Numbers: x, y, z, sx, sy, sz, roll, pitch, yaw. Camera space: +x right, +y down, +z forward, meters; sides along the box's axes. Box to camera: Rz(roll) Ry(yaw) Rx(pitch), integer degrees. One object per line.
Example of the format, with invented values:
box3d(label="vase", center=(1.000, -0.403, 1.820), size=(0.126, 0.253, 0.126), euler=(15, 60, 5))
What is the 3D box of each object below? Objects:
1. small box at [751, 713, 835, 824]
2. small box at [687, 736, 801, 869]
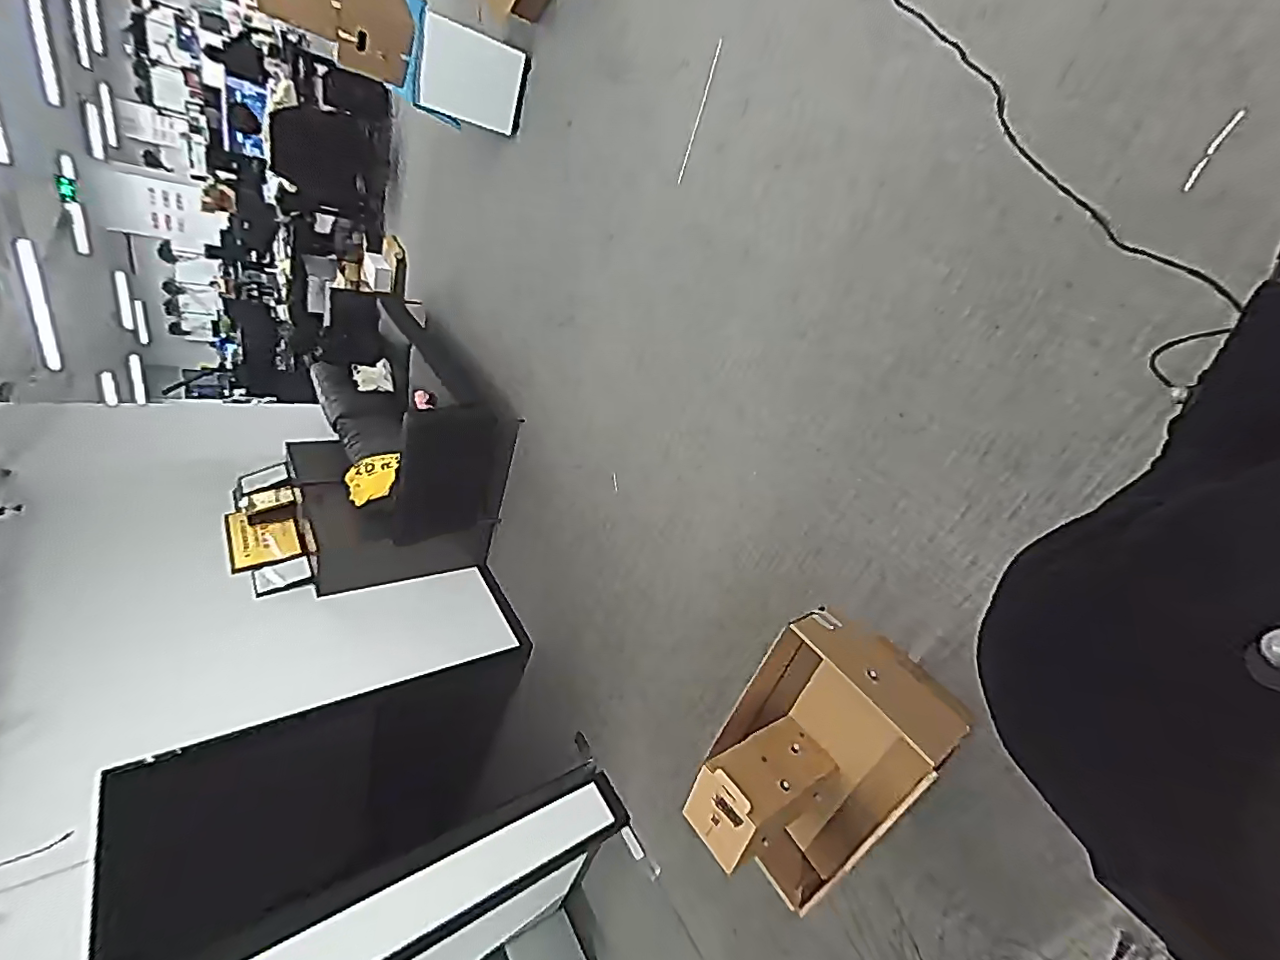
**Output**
box3d(label="small box", center=(0.362, 0.724, 1.361), size=(0.168, 0.176, 0.179), euler=(41, 122, 41))
box3d(label="small box", center=(0.243, 0.731, 1.248), size=(0.168, 0.176, 0.179), euler=(39, 122, 41))
